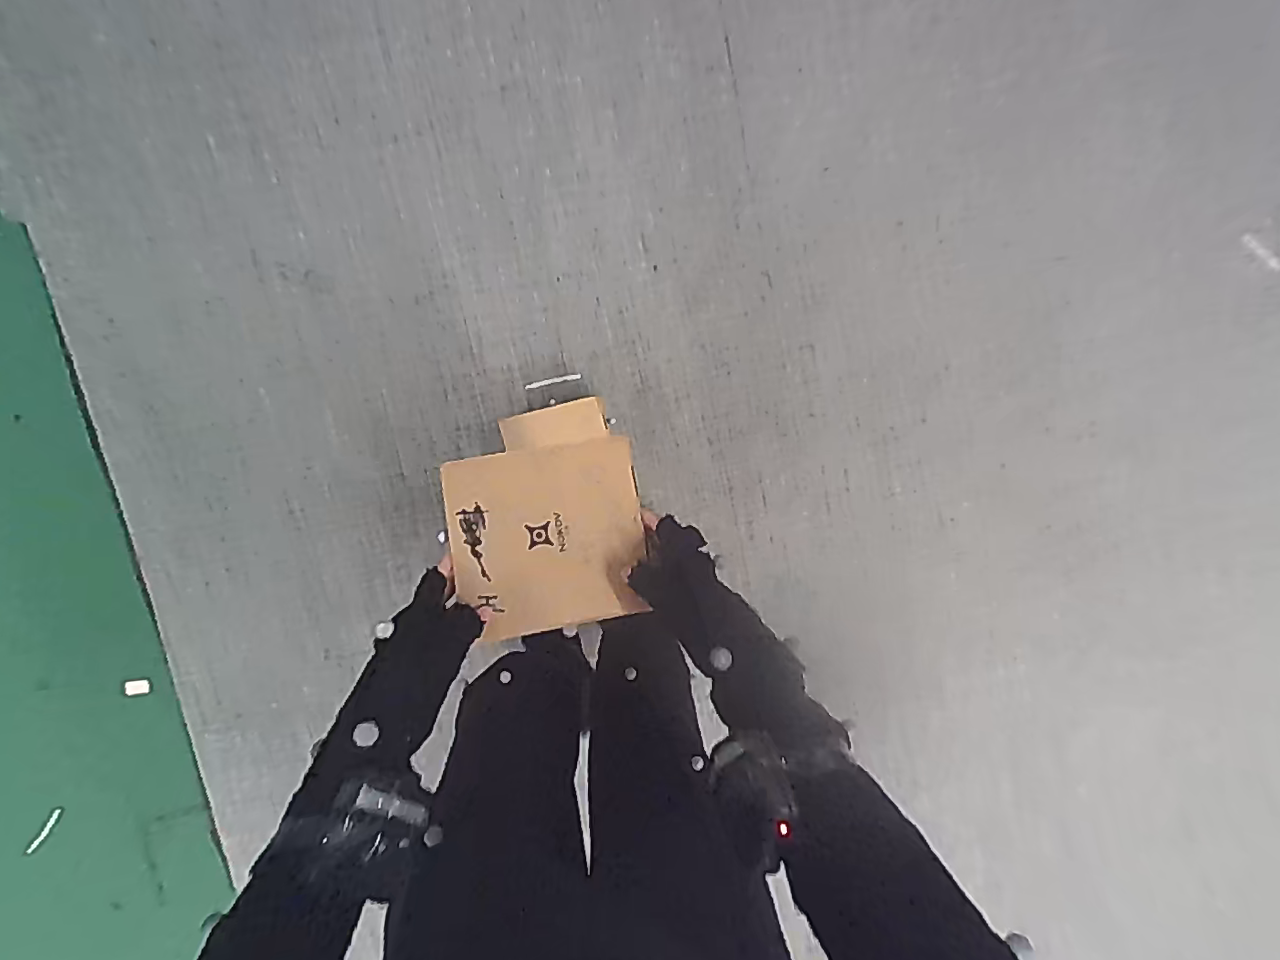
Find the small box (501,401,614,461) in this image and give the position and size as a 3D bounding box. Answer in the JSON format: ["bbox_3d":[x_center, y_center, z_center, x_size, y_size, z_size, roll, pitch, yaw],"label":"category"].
[{"bbox_3d":[-0.132,-0.044,0.992,0.179,0.176,0.168,-15,95,2],"label":"small box"}]

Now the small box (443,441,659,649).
[{"bbox_3d":[-0.091,0.069,0.579,0.179,0.176,0.168,-12,81,-7],"label":"small box"}]
